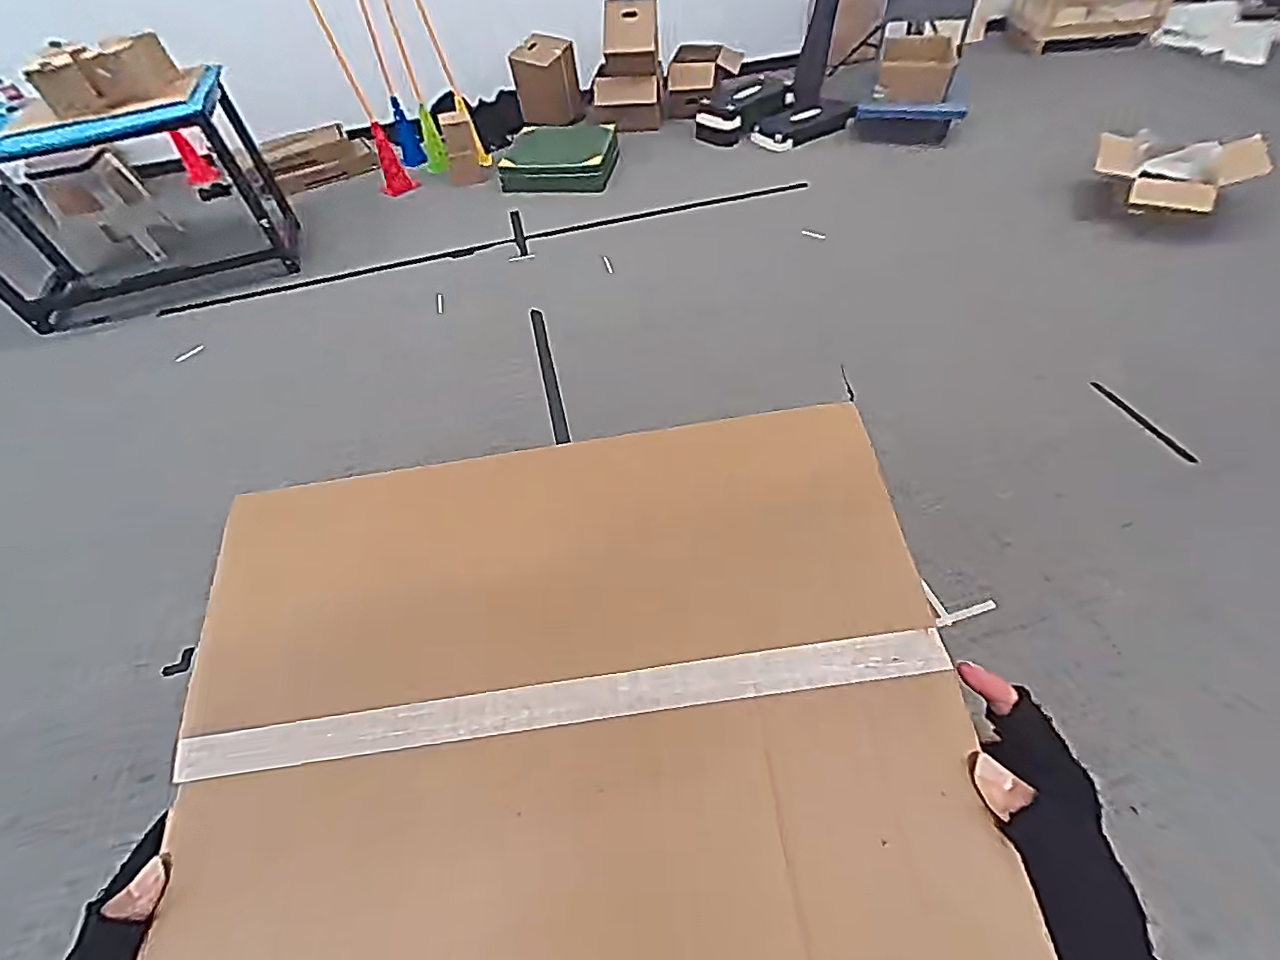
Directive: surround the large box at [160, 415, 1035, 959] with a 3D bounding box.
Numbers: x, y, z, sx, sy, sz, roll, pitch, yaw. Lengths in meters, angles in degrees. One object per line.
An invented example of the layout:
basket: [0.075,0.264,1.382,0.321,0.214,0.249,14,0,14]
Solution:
large box: [-0.032,0.189,0.426,0.408,0.320,0.320,-9,65,1]
